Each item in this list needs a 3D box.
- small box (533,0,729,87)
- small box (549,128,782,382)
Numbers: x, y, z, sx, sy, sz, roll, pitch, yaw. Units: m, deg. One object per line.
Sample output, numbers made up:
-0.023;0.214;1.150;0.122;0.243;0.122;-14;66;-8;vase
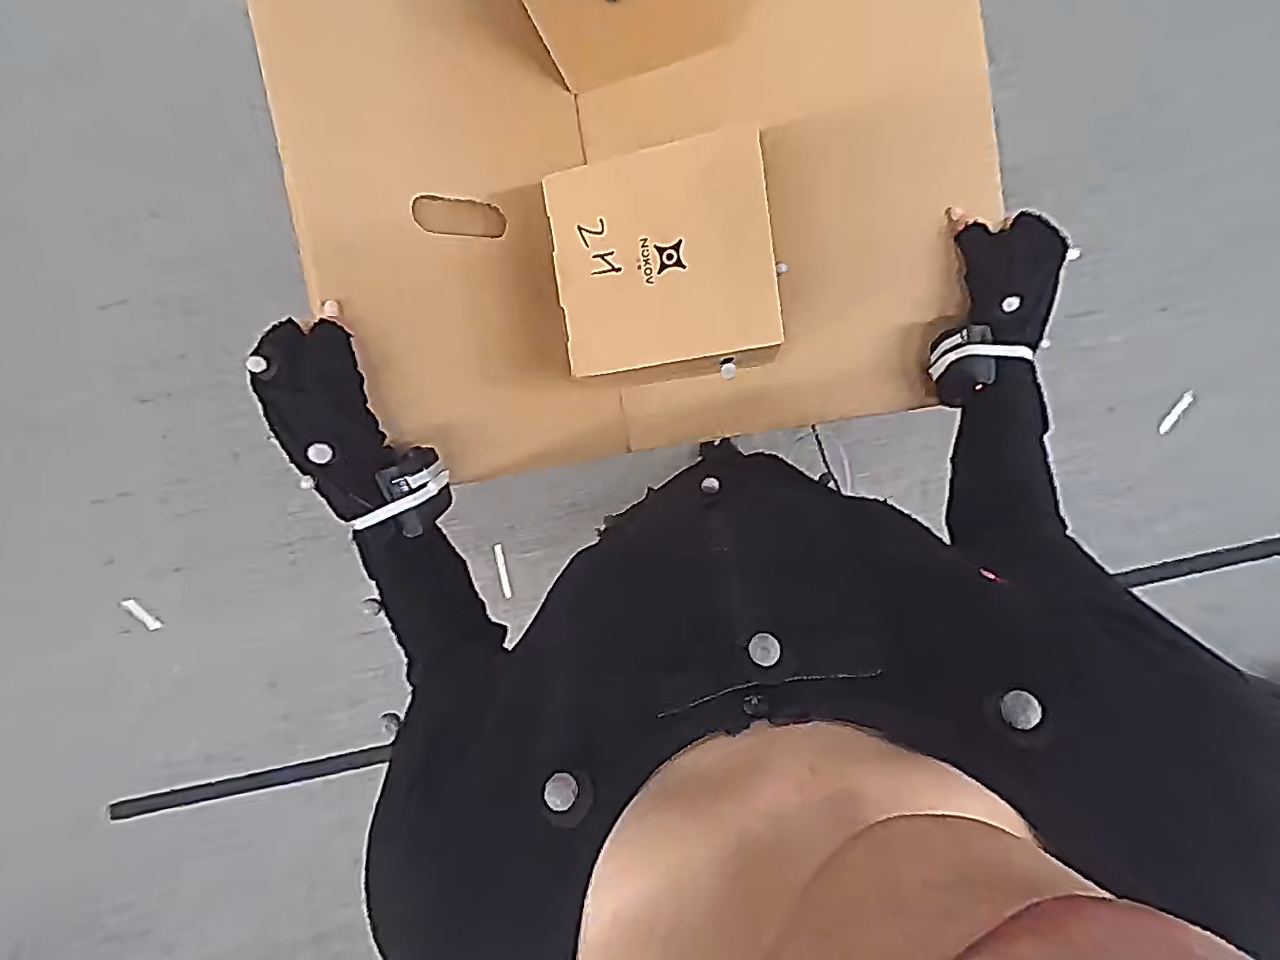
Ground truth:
-0.019;-0.506;0.492;0.179;0.176;0.168;-9;94;11;small box
0.033;-0.191;0.515;0.179;0.176;0.168;-7;95;12;small box
